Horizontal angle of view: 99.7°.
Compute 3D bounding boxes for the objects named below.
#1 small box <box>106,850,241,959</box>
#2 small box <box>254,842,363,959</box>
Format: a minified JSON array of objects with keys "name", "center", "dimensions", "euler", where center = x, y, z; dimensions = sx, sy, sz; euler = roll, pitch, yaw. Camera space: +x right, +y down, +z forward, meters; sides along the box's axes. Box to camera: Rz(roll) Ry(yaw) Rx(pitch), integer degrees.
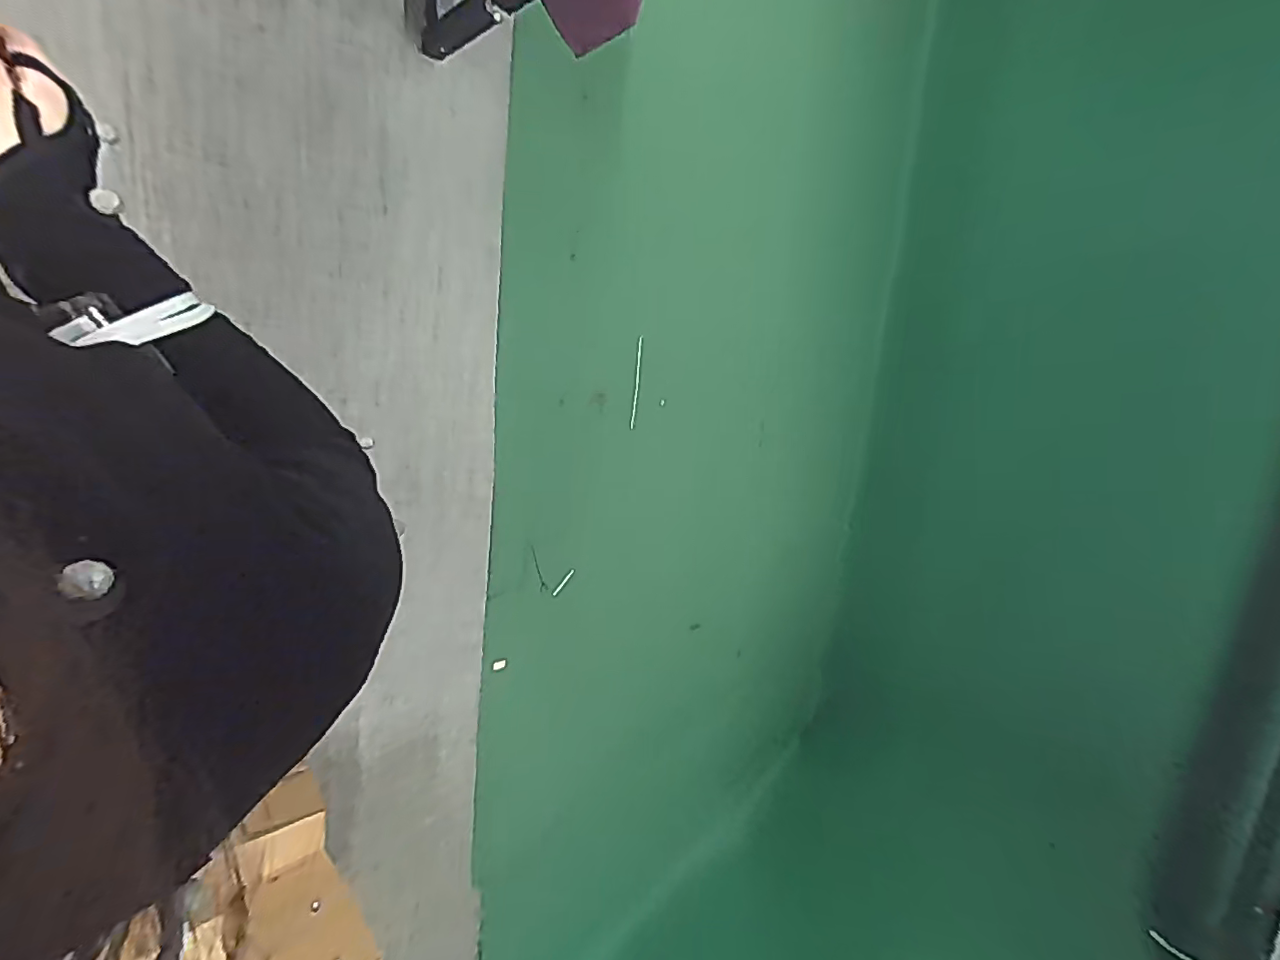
[{"name":"small box","center":[-0.876,0.856,1.014],"dimensions":[0.179,0.176,0.168],"euler":[-6,108,-47]},{"name":"small box","center":[-0.740,0.969,1.205],"dimensions":[0.168,0.176,0.179],"euler":[-4,106,-48]}]
